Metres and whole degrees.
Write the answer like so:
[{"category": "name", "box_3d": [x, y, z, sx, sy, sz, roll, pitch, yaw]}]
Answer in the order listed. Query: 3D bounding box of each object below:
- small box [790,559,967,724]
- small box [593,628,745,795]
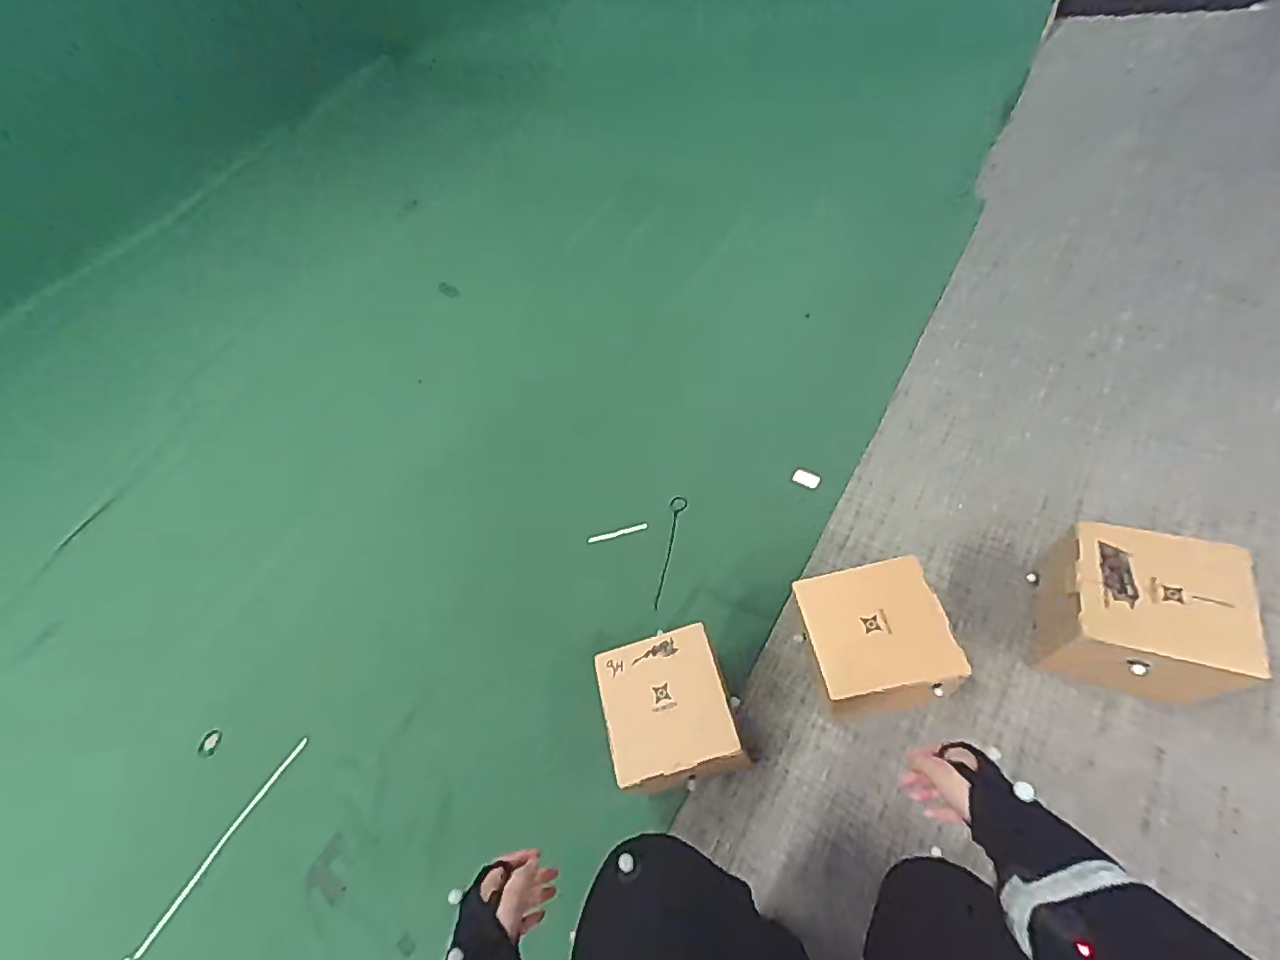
[{"category": "small box", "box_3d": [0.326, 0.239, 0.779, 0.179, 0.176, 0.168, -15, 55, 6]}, {"category": "small box", "box_3d": [0.046, 0.342, 0.787, 0.168, 0.176, 0.179, -18, 56, 3]}]
